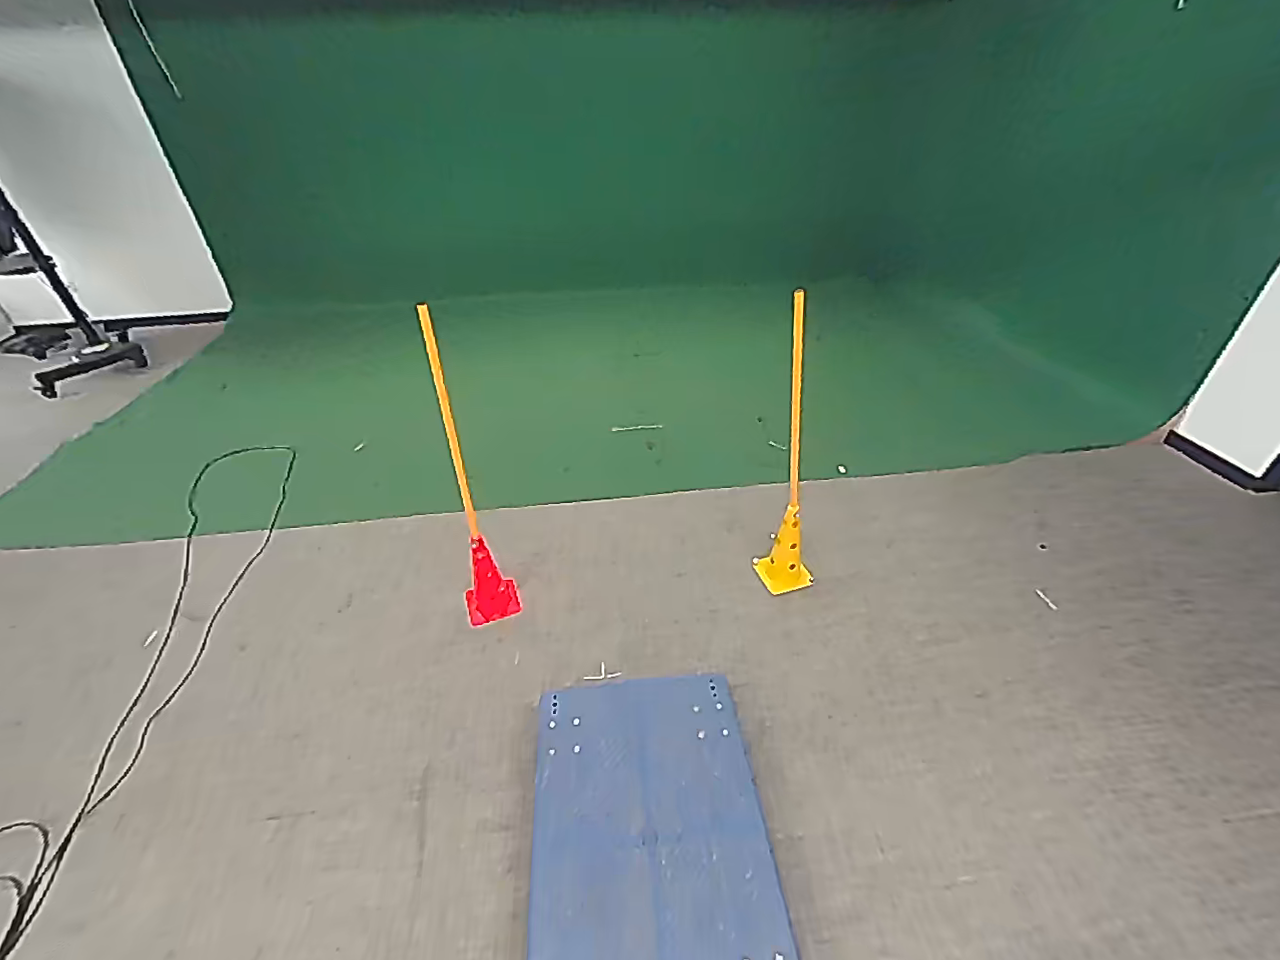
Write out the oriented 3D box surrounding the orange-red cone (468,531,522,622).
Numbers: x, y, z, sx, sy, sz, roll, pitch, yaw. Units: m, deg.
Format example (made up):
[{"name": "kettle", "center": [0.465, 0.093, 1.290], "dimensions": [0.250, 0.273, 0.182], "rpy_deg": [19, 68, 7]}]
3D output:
[{"name": "orange-red cone", "center": [-0.590, 0.340, 2.060], "dimensions": [0.199, 0.360, 0.198], "rpy_deg": [-15, 38, -15]}]
